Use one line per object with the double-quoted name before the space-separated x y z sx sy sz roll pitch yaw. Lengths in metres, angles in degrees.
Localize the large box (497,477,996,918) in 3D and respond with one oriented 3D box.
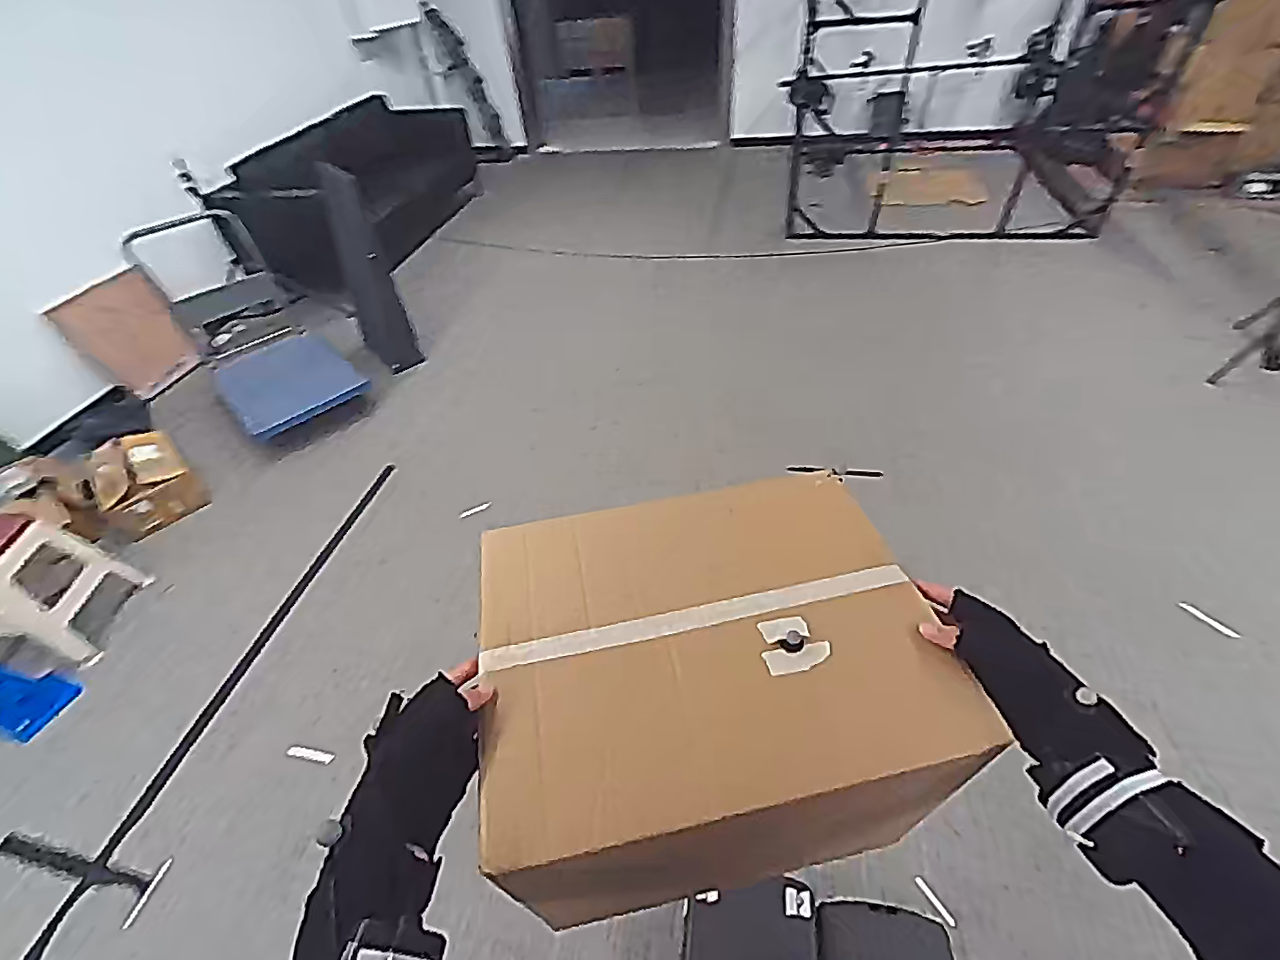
"large box" 0.070 0.239 0.617 0.408 0.320 0.320 -9 45 -6
